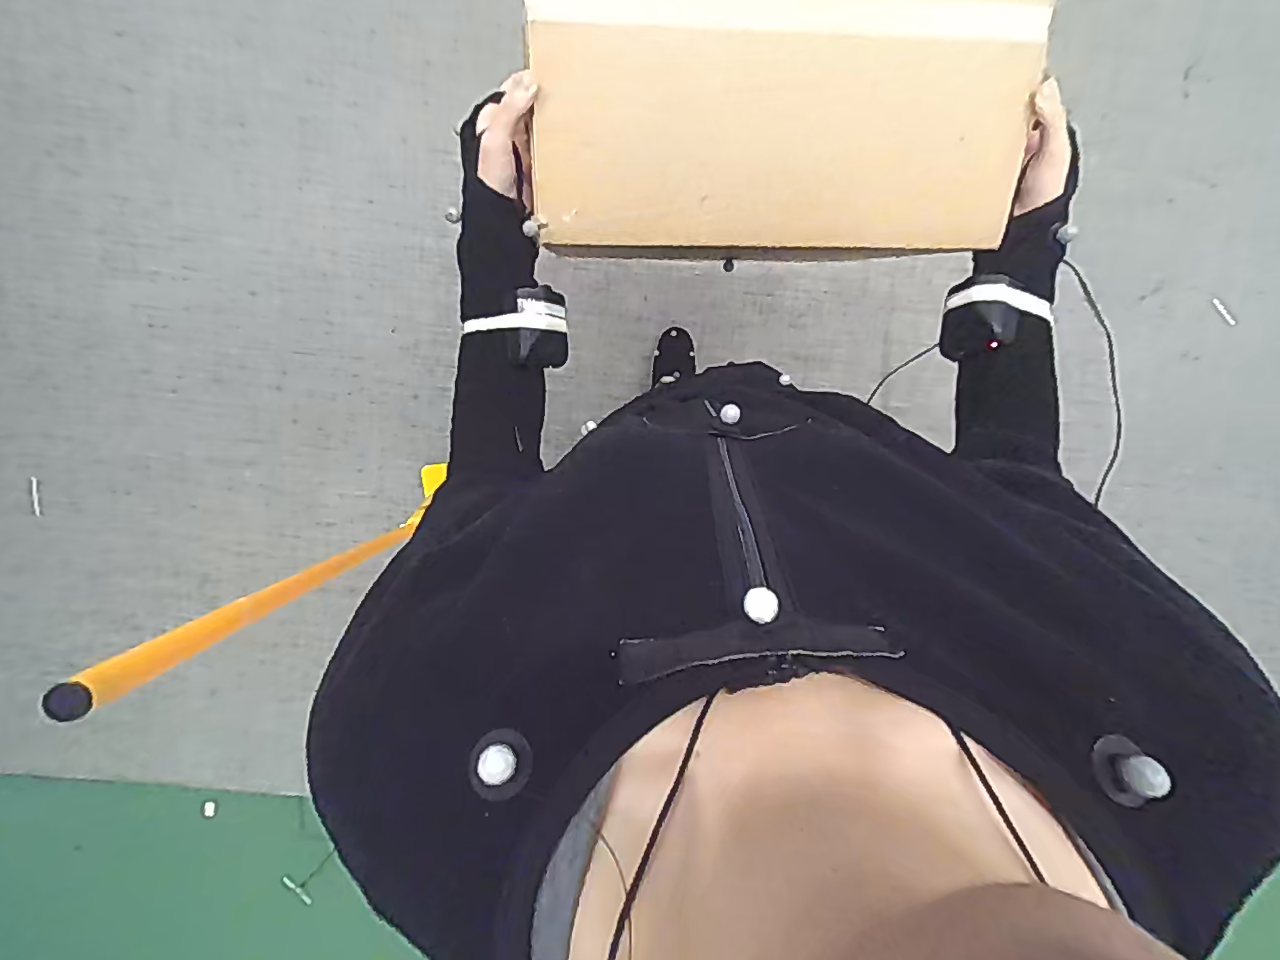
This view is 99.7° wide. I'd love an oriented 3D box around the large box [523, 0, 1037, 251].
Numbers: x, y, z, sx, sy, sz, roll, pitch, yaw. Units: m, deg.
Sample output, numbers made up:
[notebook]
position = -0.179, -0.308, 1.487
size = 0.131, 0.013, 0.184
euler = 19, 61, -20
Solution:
[large box]
position = 0.101, -0.405, 0.554
size = 0.408, 0.320, 0.320
euler = -2, 111, -4
